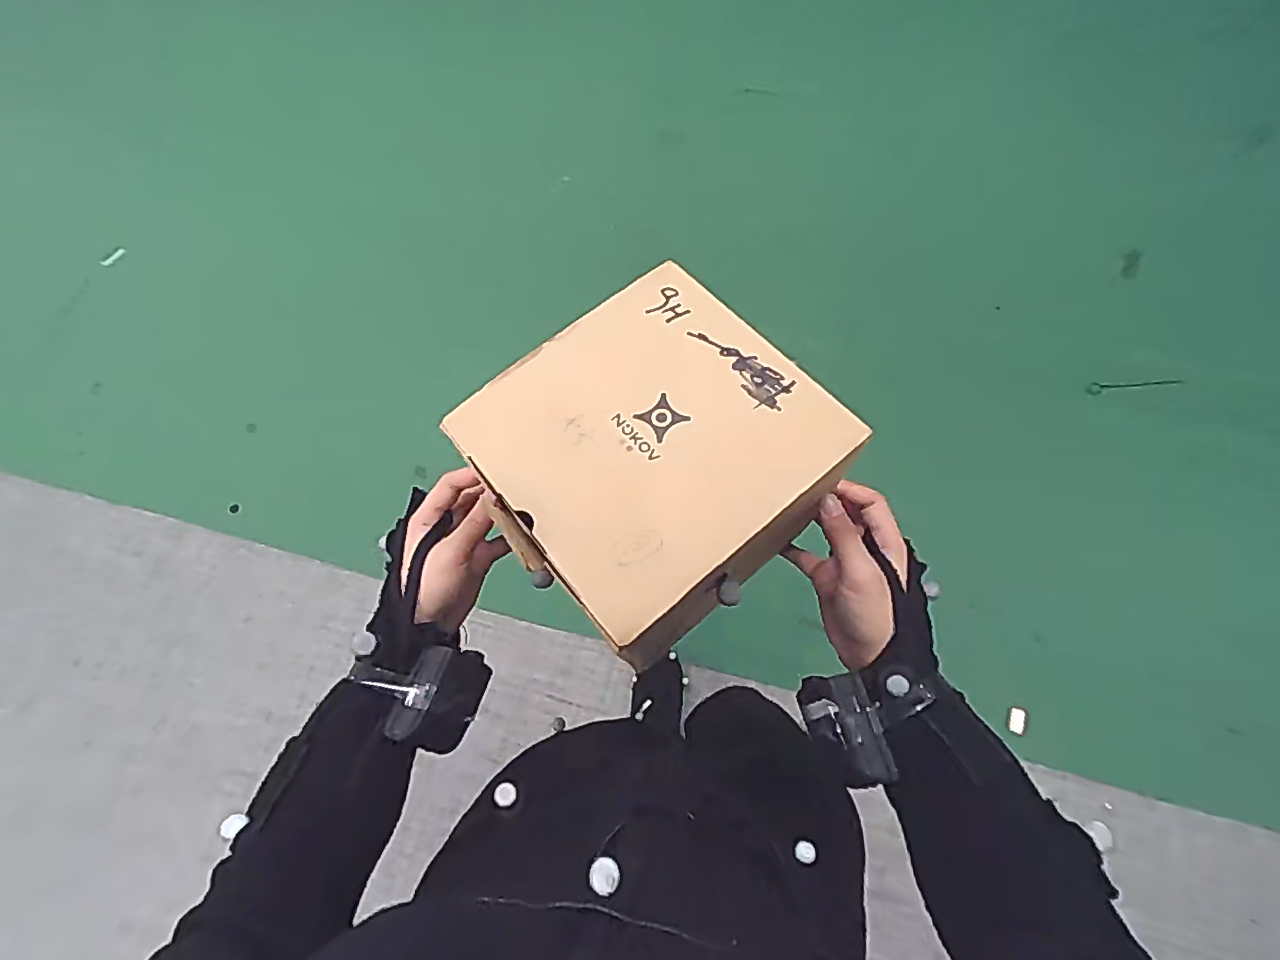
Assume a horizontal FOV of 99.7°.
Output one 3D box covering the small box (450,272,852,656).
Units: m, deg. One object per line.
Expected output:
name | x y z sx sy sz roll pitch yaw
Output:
small box | 0.010 0.003 0.380 0.179 0.176 0.168 -39 70 -11
